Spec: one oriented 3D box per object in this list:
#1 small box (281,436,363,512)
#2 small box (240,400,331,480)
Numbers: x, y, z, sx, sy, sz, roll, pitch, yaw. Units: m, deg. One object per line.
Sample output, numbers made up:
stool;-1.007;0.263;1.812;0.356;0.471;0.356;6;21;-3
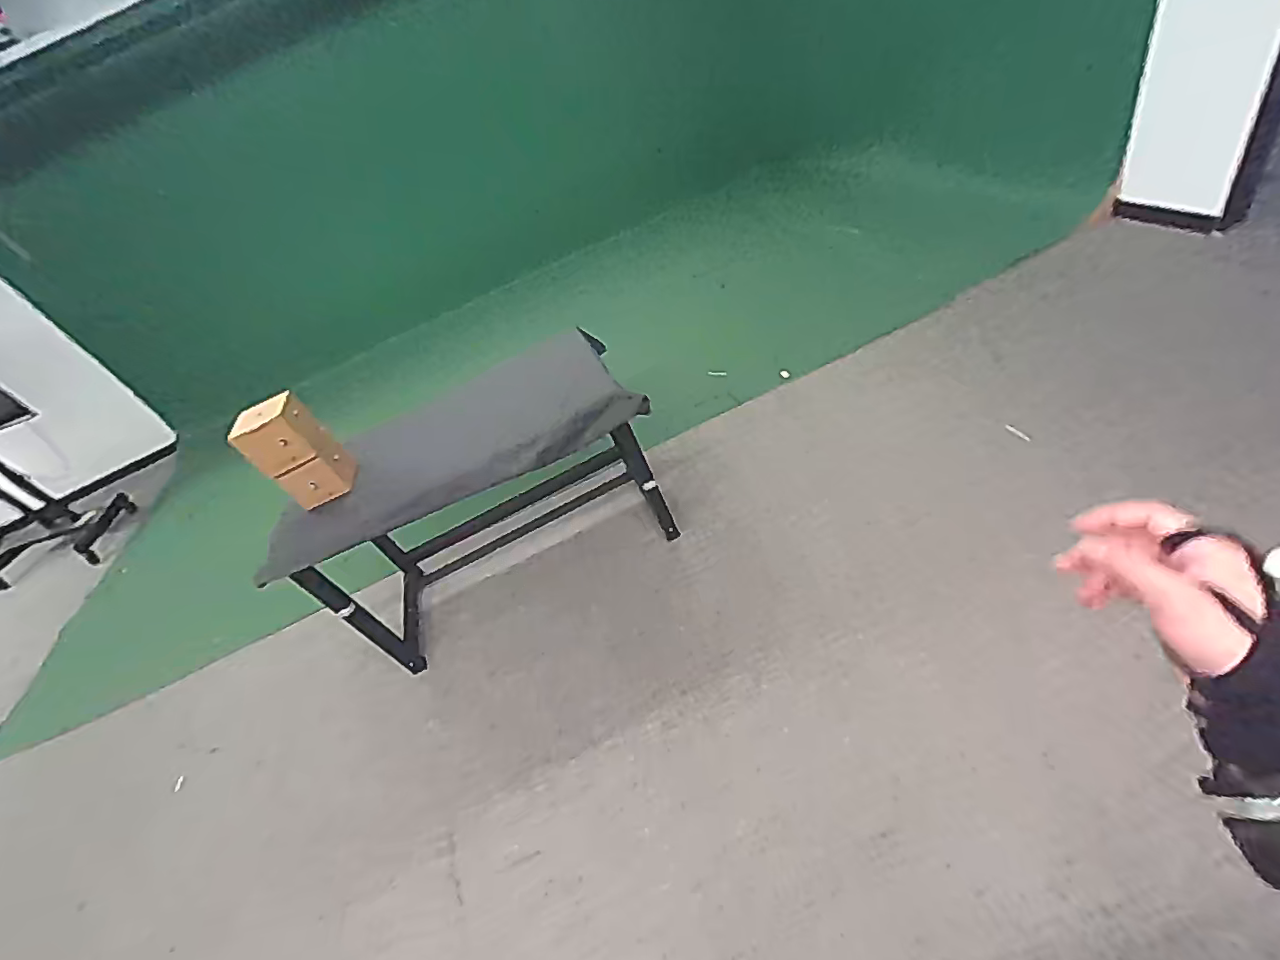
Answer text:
small box;-1.071;-0.013;1.837;0.168;0.176;0.179;-25;39;-1
small box;-1.119;-0.121;1.724;0.168;0.176;0.179;-26;38;-3
